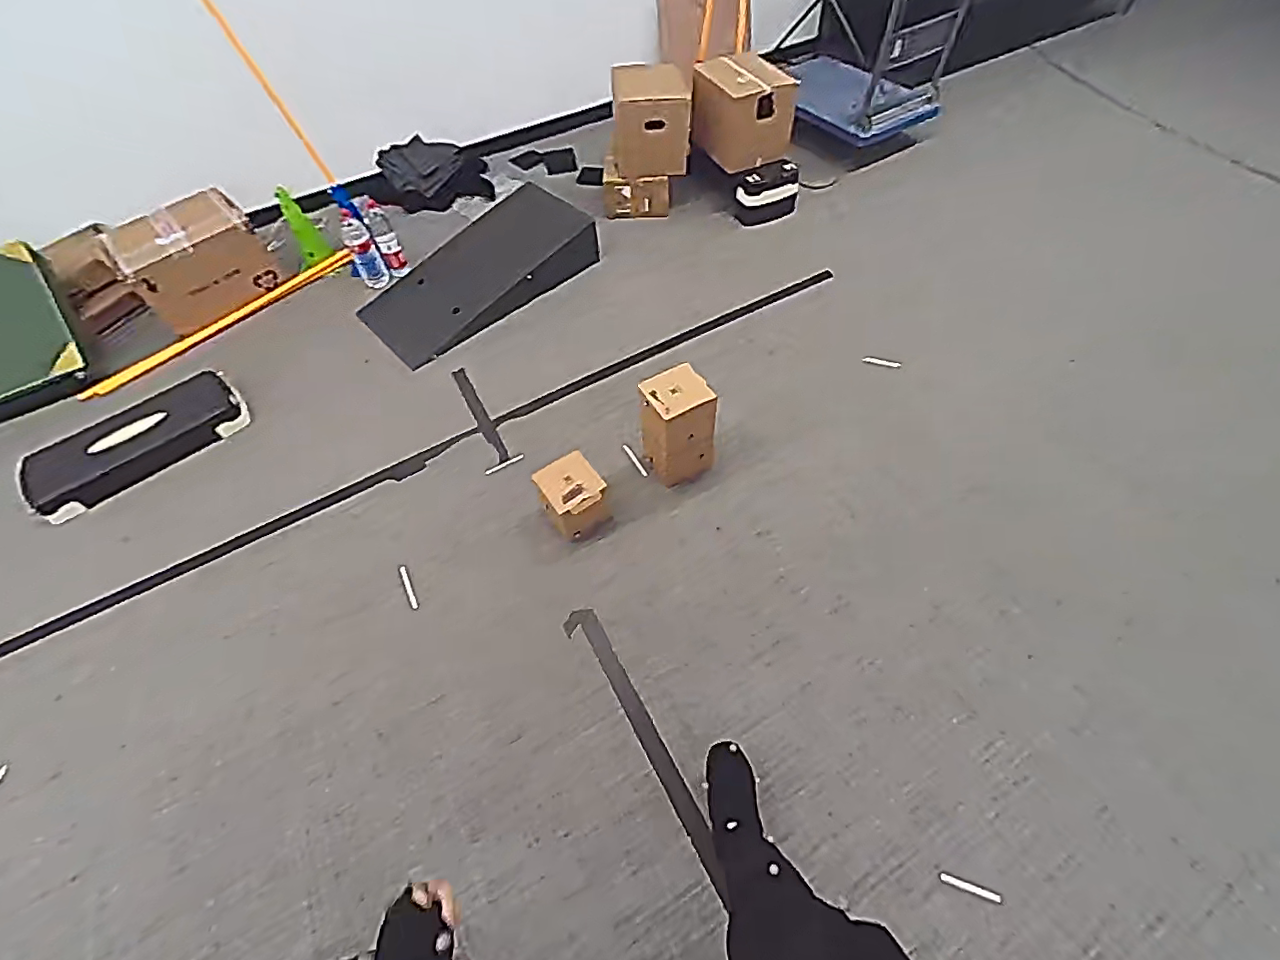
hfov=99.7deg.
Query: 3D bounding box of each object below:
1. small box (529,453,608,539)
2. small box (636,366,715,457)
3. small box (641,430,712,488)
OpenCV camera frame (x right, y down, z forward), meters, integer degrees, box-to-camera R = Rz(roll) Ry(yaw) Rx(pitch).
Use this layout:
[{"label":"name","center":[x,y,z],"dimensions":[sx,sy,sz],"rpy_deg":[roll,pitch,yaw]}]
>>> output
[{"label":"small box","center":[-0.210,0.058,1.643],"dimensions":[0.168,0.176,0.179],"rpy_deg":[-31,59,-18]},{"label":"small box","center":[0.102,-0.201,1.608],"dimensions":[0.179,0.176,0.168],"rpy_deg":[-25,57,-14]},{"label":"small box","center":[0.112,-0.106,1.741],"dimensions":[0.179,0.176,0.168],"rpy_deg":[-25,57,-13]}]
